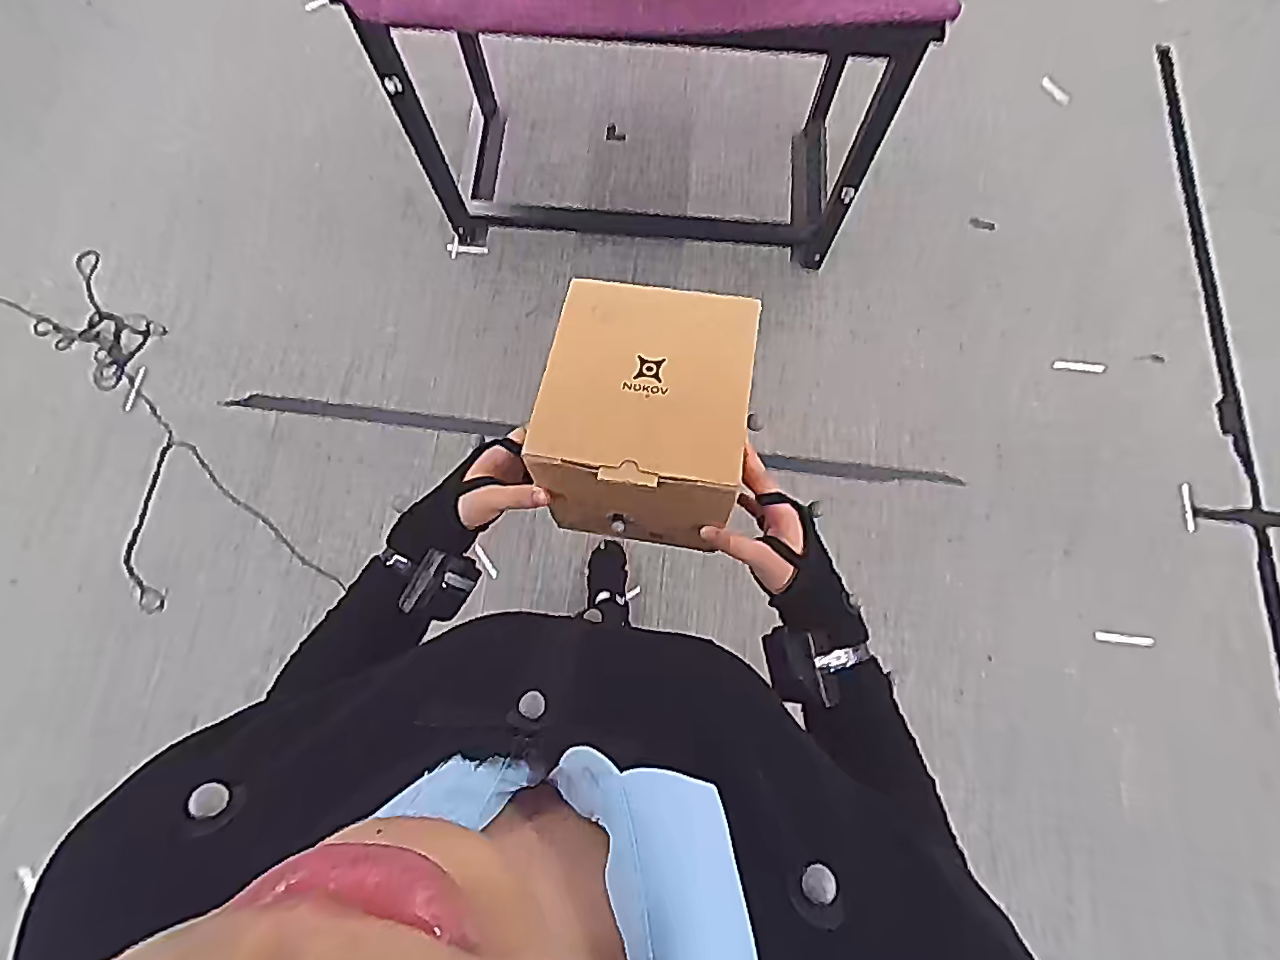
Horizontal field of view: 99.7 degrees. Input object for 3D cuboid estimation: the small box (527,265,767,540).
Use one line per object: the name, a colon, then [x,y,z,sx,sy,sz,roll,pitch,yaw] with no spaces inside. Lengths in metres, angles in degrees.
small box: [0.012,-0.061,0.494,0.168,0.176,0.179,8,68,5]
